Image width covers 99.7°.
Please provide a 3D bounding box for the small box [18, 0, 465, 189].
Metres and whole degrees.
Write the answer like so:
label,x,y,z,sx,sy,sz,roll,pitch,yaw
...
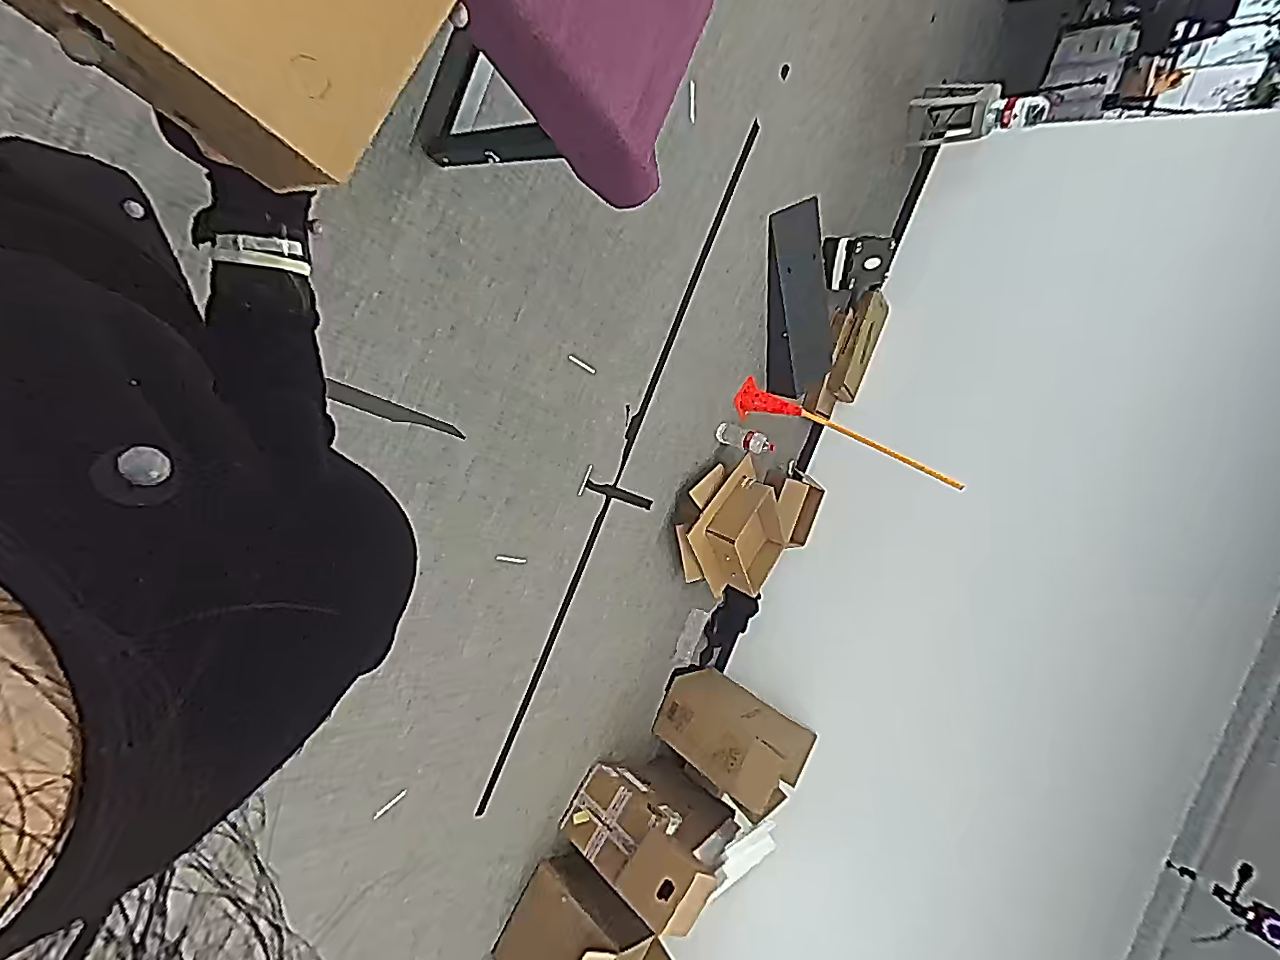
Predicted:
label,x,y,z,sx,sy,sz,roll,pitch,yaw
small box,-0.217,-0.288,0.295,0.168,0.176,0.179,32,85,-48
